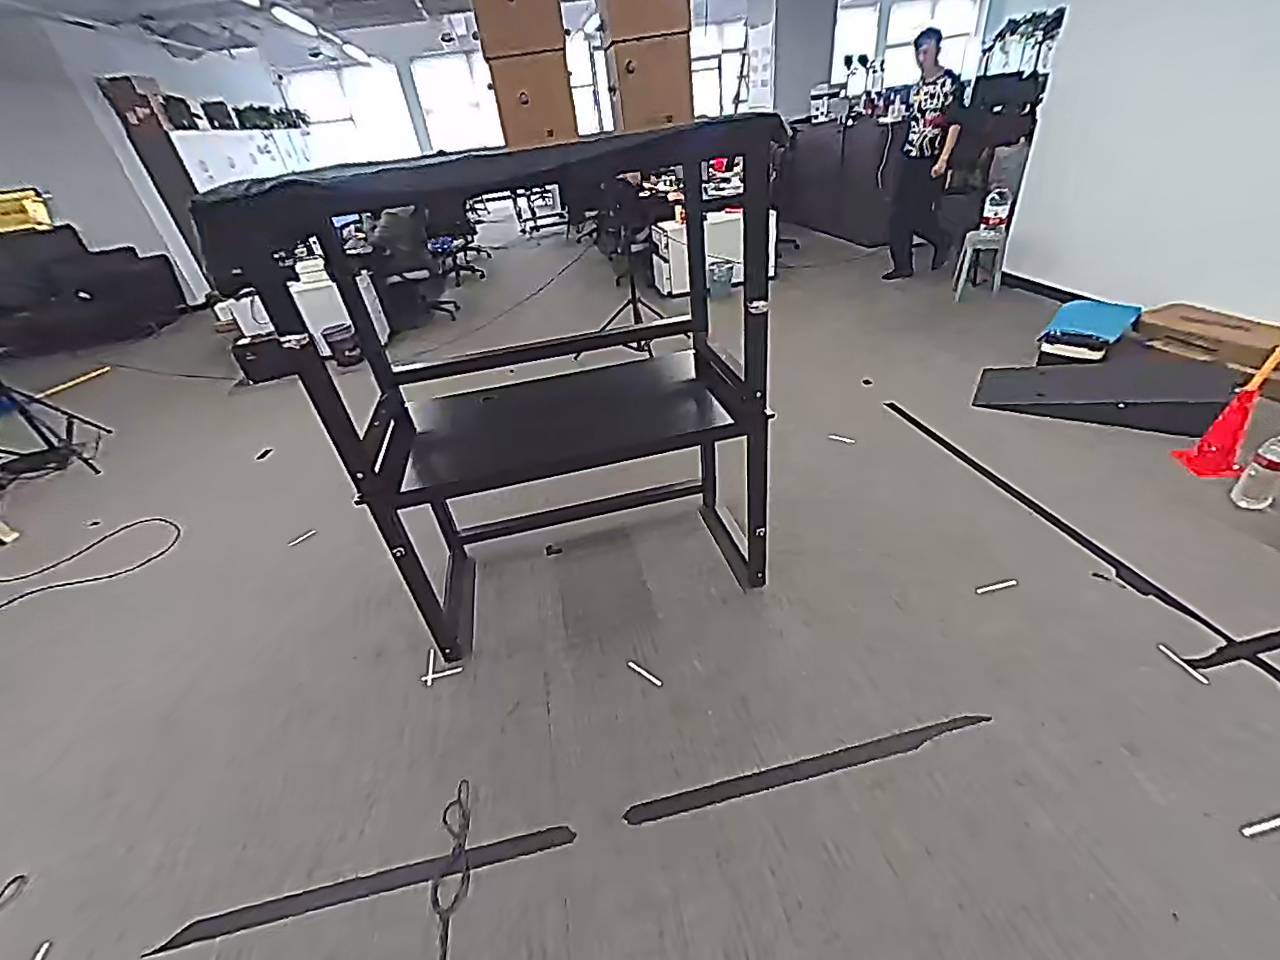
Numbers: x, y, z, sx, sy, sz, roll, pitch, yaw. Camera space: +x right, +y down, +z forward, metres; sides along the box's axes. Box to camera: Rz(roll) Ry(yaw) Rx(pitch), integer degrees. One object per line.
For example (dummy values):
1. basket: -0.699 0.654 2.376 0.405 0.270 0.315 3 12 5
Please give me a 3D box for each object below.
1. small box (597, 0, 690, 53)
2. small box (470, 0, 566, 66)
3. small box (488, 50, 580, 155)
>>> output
1. small box: 0.003 -1.024 1.142 0.179 0.176 0.168 -13 32 -5
2. small box: -0.253 -0.977 1.126 0.179 0.176 0.168 -12 32 -3
3. small box: -0.234 -0.846 1.225 0.168 0.176 0.179 -11 33 -4
